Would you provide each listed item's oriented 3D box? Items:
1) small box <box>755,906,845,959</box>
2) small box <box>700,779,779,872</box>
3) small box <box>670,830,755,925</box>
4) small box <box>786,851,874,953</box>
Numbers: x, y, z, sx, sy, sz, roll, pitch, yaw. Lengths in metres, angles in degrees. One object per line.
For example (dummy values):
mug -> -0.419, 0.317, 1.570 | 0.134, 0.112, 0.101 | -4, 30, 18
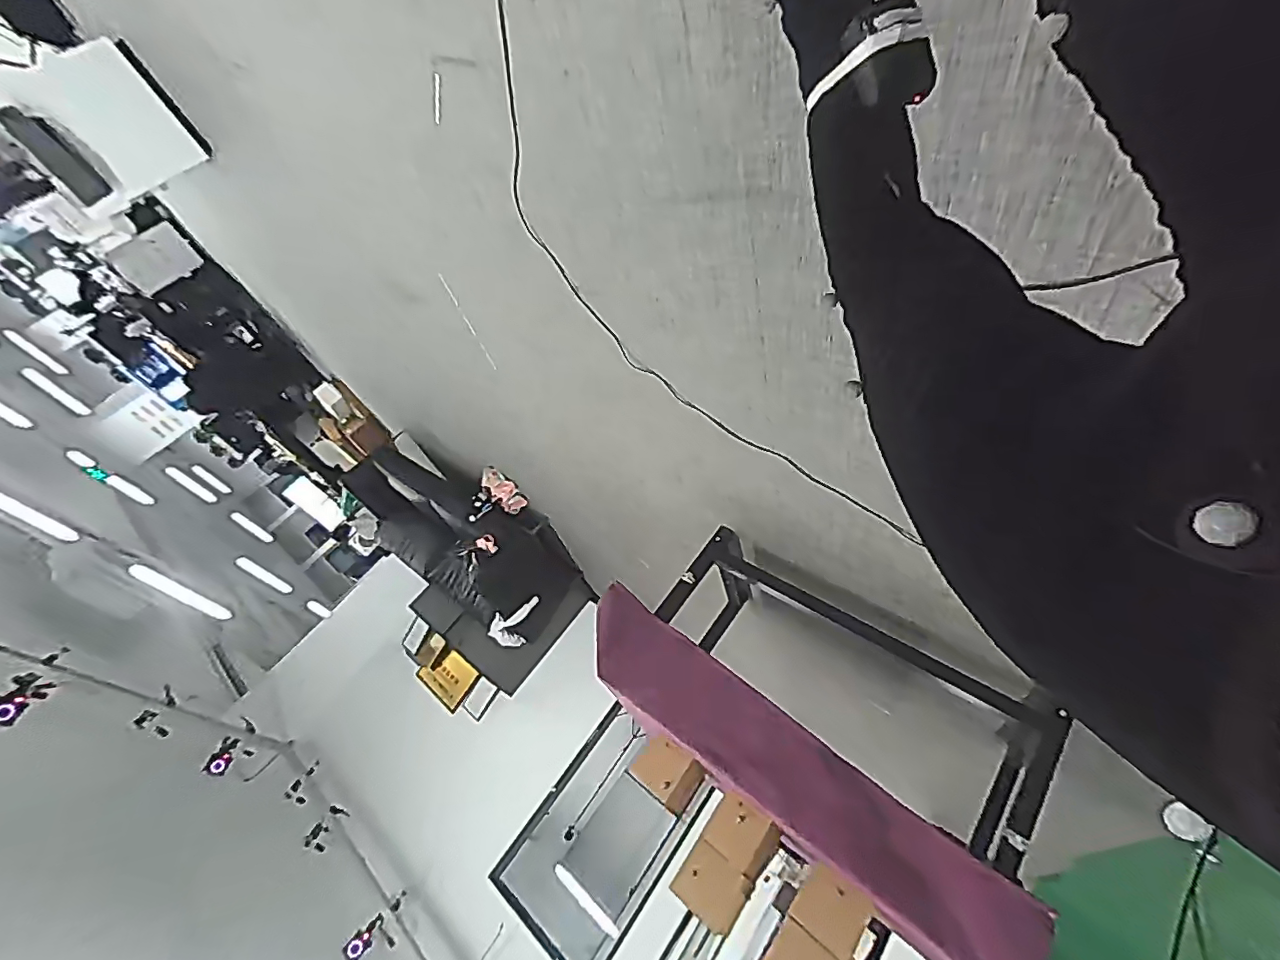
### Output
small box -> 0.443, 1.315, 1.490 | 0.179, 0.176, 0.168 | 24, 153, 35
small box -> 0.324, 1.097, 1.723 | 0.168, 0.176, 0.179 | 21, 151, 40
small box -> 0.225, 1.210, 1.660 | 0.179, 0.176, 0.168 | 22, 153, 38
small box -> 0.545, 1.200, 1.550 | 0.179, 0.176, 0.168 | 25, 154, 36
